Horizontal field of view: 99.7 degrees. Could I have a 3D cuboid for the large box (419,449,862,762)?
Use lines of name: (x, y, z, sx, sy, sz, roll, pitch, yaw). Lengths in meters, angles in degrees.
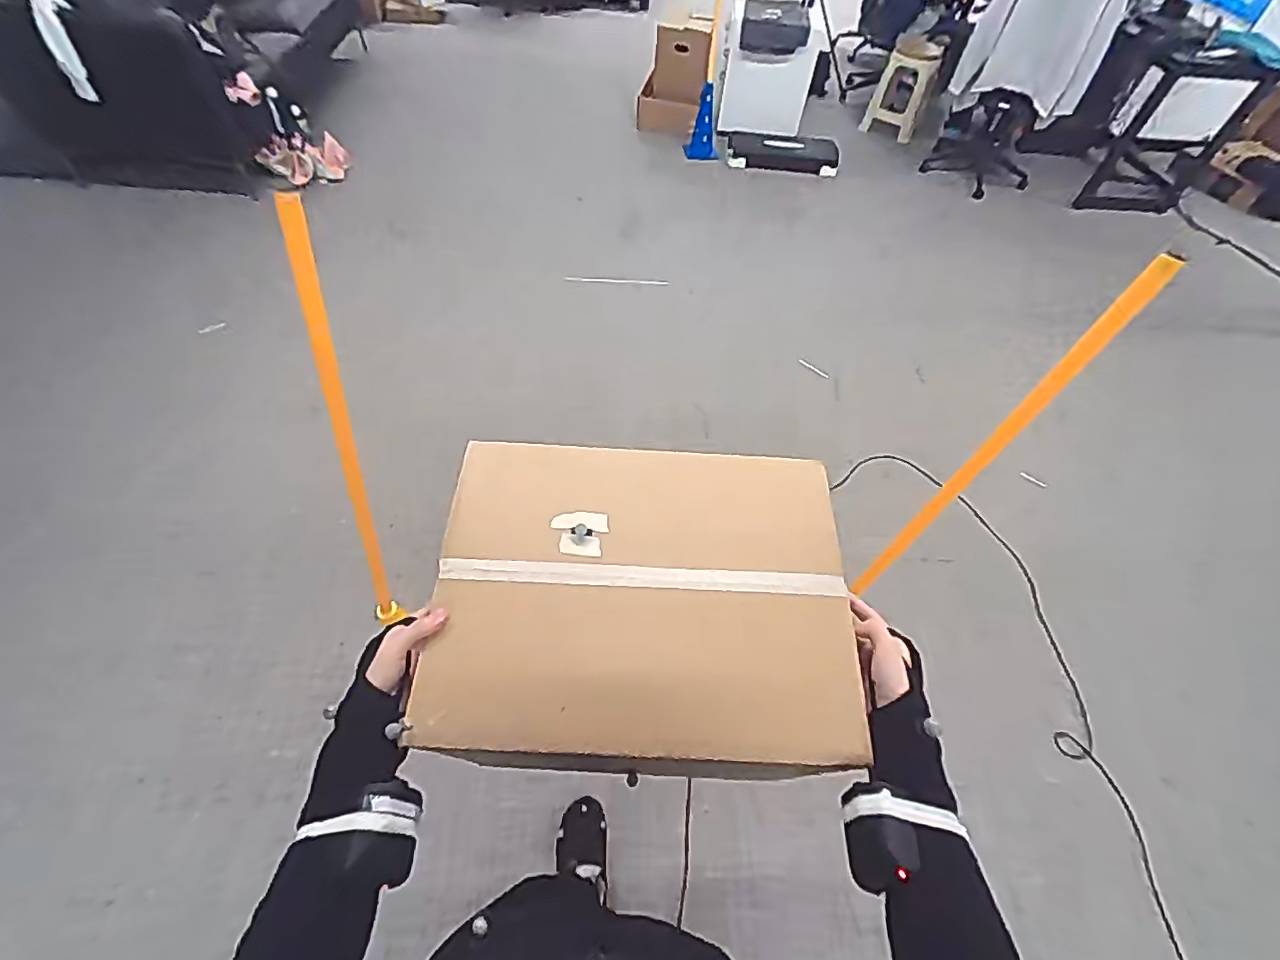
large box: (0.003, 0.175, 0.682, 0.408, 0.320, 0.320, 3, 59, 0)
